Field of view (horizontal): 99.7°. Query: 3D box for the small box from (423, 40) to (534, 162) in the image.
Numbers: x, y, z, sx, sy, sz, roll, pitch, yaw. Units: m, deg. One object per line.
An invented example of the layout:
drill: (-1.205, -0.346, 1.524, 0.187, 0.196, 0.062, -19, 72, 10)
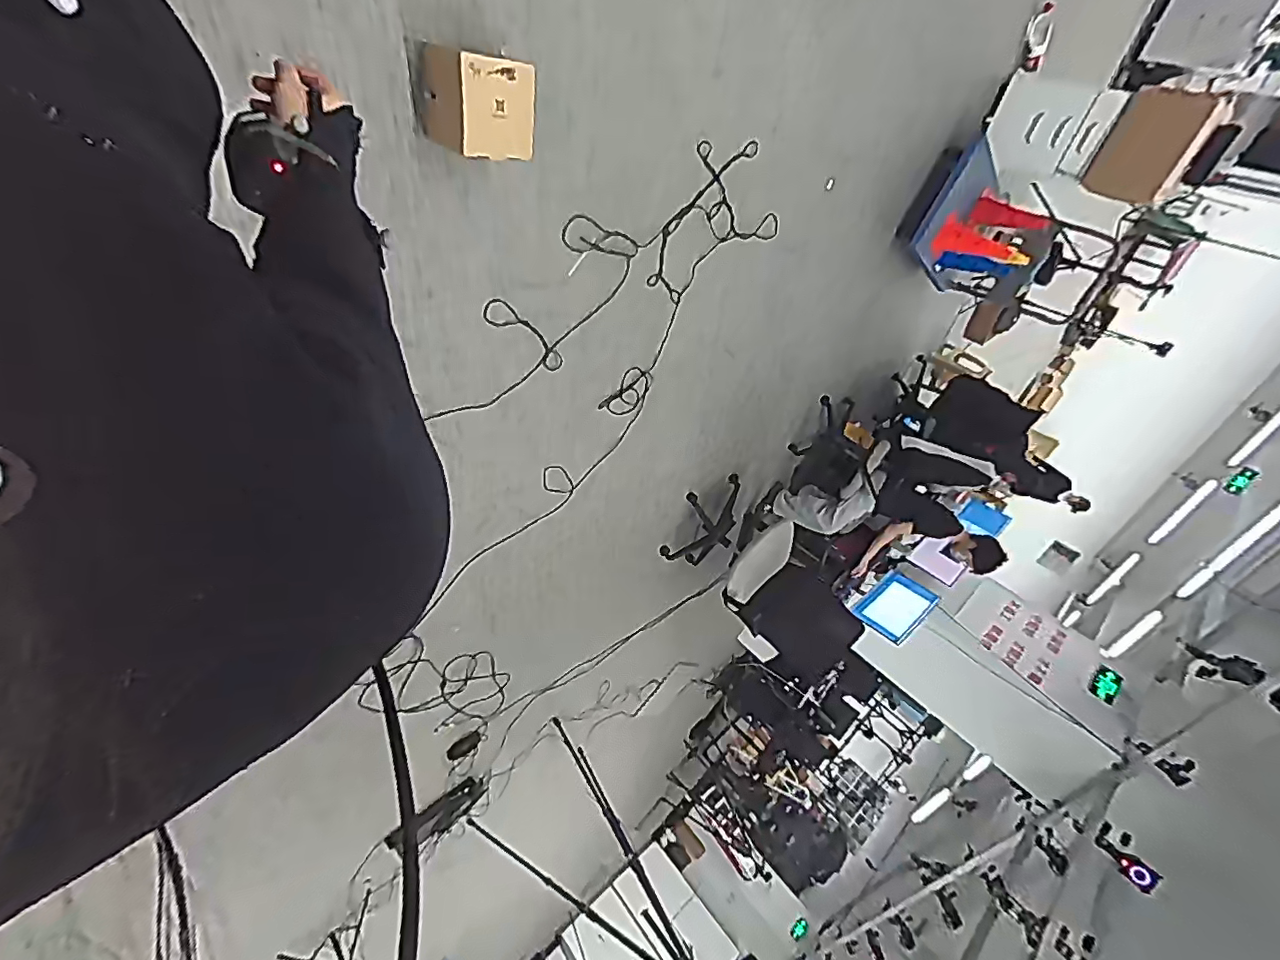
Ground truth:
small box: (-0.344, -0.801, 1.148, 0.168, 0.176, 0.179, -22, 140, -37)
